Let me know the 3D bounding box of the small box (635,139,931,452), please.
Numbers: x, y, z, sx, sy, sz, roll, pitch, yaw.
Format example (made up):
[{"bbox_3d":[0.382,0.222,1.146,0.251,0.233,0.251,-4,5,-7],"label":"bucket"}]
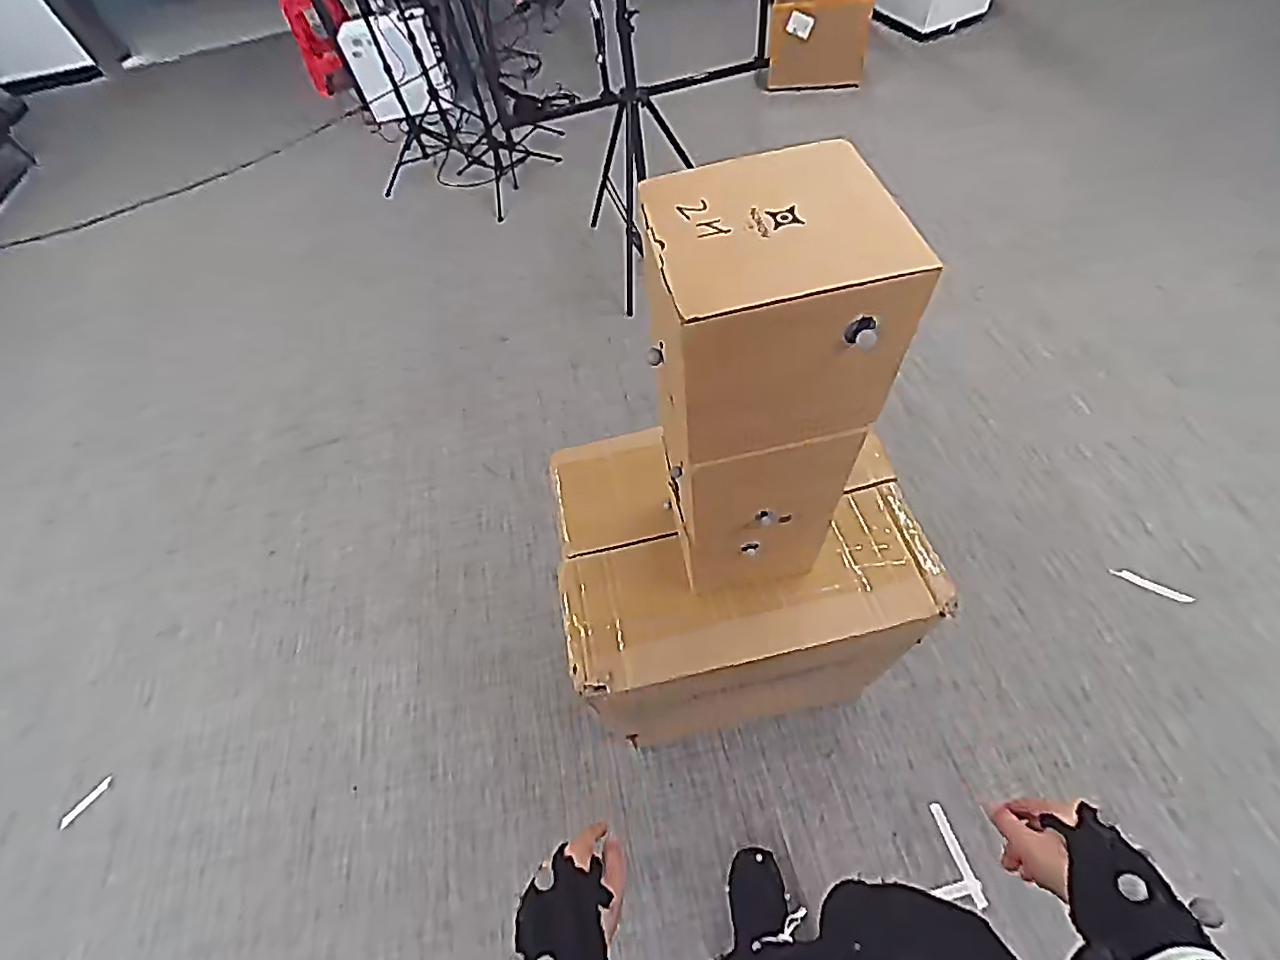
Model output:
[{"bbox_3d":[0.101,-0.146,0.459,0.179,0.176,0.168,-12,58,0],"label":"small box"}]

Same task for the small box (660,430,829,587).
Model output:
[{"bbox_3d":[0.134,0.030,0.736,0.179,0.176,0.168,-12,57,0],"label":"small box"}]
